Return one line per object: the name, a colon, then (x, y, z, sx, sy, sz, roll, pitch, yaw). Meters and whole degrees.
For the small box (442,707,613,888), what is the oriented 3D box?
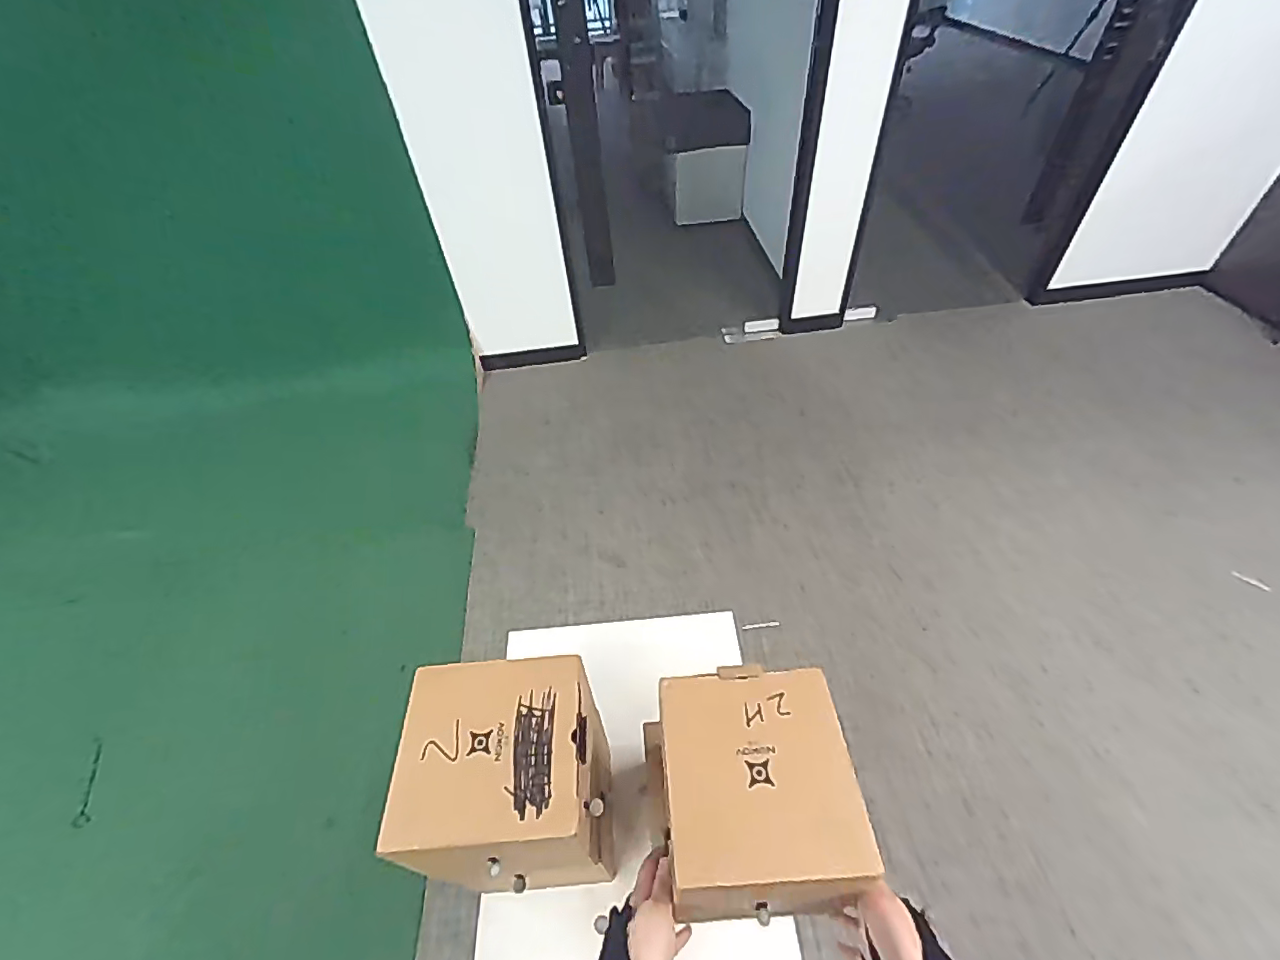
small box: (-0.131, 0.413, 0.700, 0.179, 0.176, 0.168, -5, 48, -1)

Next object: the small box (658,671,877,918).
small box: (0.106, 0.313, 0.535, 0.168, 0.176, 0.179, -3, 43, -1)
